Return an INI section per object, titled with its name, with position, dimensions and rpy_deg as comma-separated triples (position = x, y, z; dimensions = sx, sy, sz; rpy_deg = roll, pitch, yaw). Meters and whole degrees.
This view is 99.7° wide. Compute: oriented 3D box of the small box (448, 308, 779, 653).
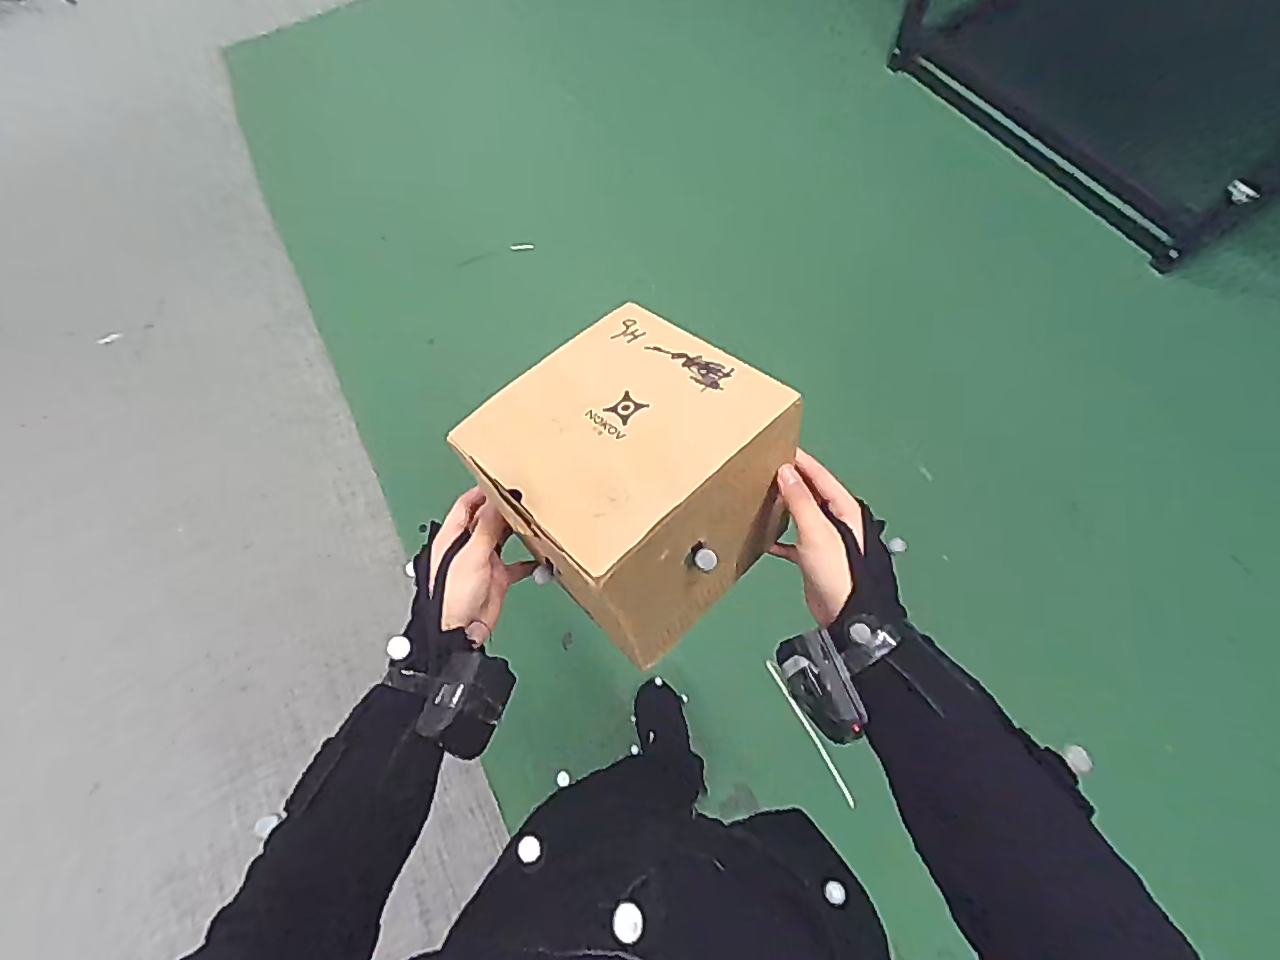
[small box]
position = -0.008, 0.005, 0.429
dimensions = 0.179, 0.176, 0.168
rpy_deg = -41, 58, -17
